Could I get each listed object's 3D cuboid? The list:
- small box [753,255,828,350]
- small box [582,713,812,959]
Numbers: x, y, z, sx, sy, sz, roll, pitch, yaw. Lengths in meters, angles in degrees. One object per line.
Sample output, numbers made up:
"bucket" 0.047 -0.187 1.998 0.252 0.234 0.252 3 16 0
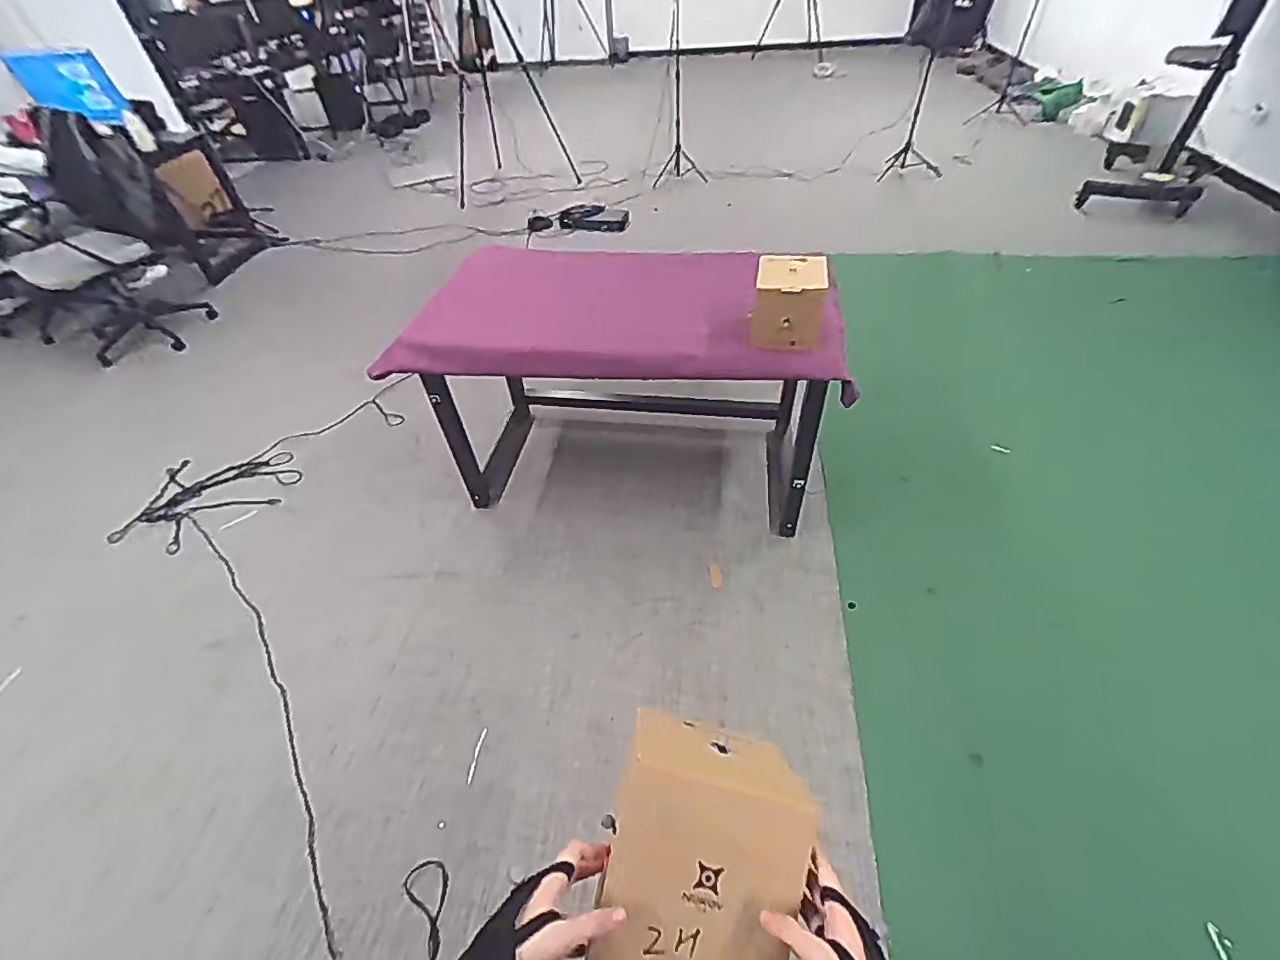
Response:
"small box" 0.379 -0.447 1.366 0.168 0.176 0.179 6 49 12
"small box" 0.049 0.357 0.539 0.168 0.176 0.179 15 83 2
